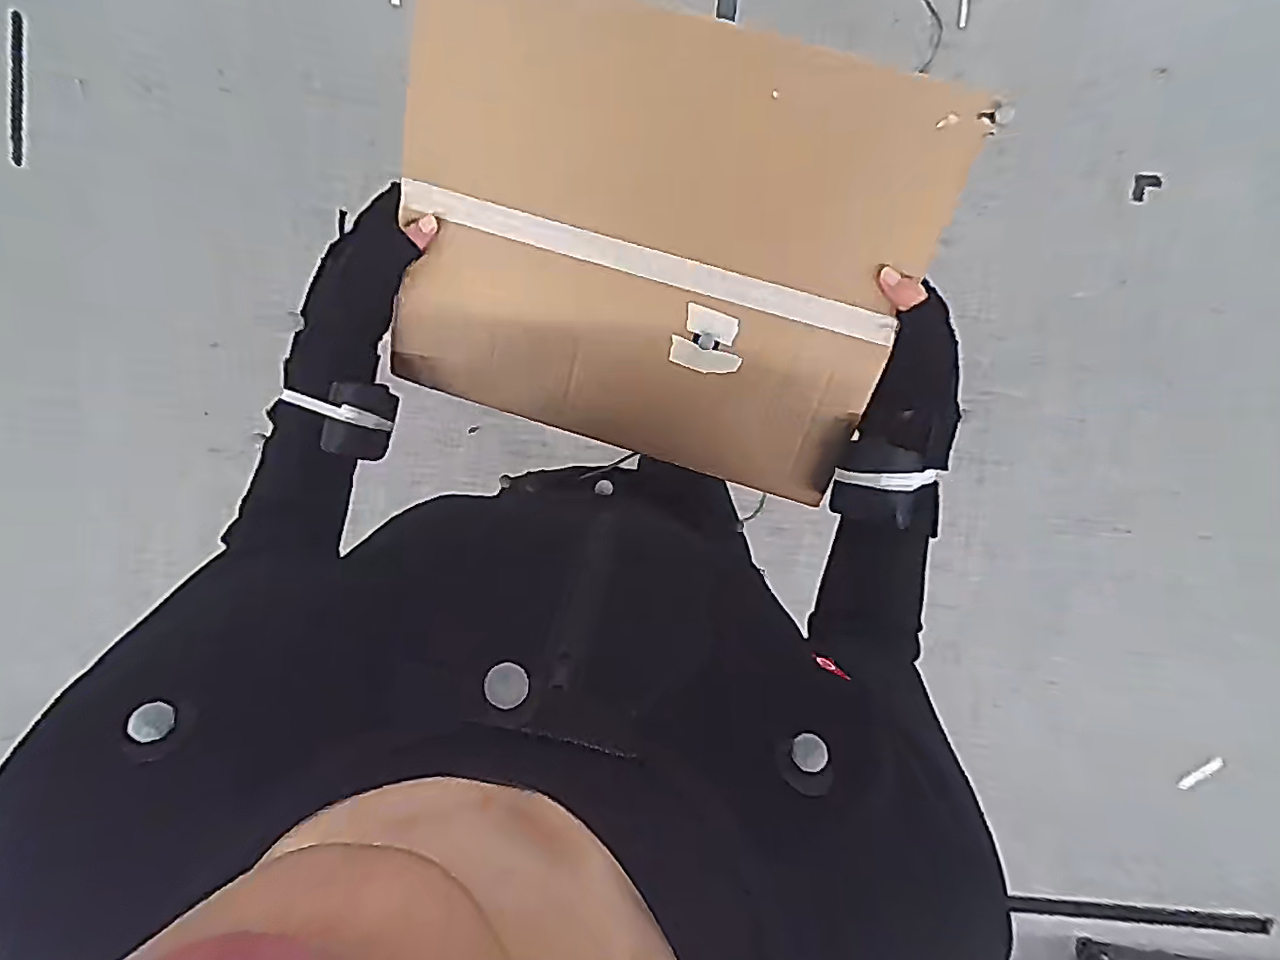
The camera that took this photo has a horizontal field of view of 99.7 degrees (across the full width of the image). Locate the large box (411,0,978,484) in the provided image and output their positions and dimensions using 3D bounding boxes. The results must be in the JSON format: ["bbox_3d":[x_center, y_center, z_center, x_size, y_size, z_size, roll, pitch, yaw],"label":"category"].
[{"bbox_3d":[0.029,-0.238,0.576,0.408,0.320,0.320,16,115,2],"label":"large box"}]
